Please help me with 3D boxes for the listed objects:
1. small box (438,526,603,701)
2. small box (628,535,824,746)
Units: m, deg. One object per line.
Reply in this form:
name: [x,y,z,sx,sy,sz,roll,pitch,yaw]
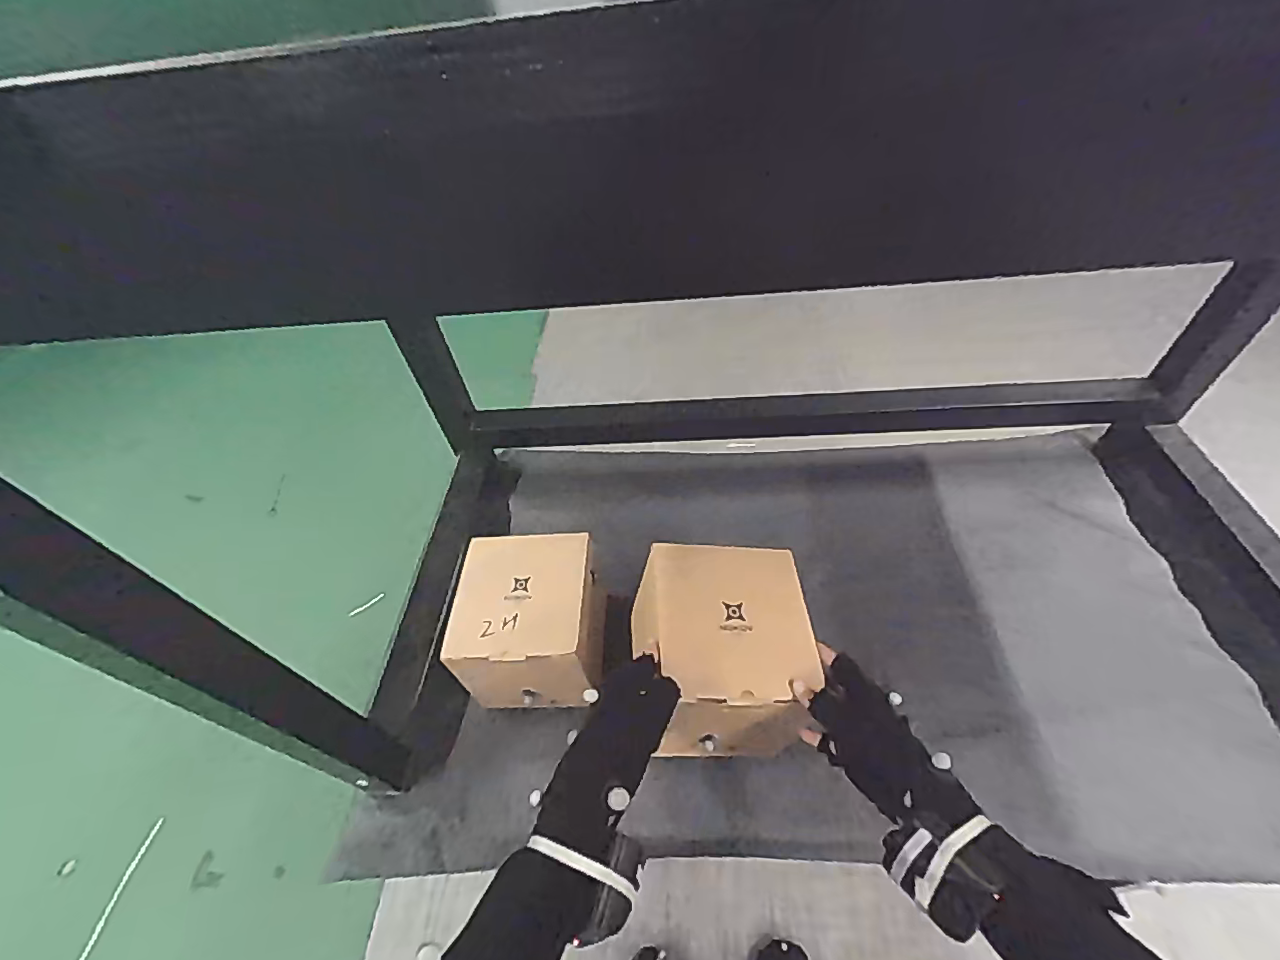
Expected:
small box: [-0.146,0.183,0.738,0.168,0.176,0.179,-3,48,6]
small box: [0.079,0.186,0.618,0.168,0.176,0.179,4,49,-9]
